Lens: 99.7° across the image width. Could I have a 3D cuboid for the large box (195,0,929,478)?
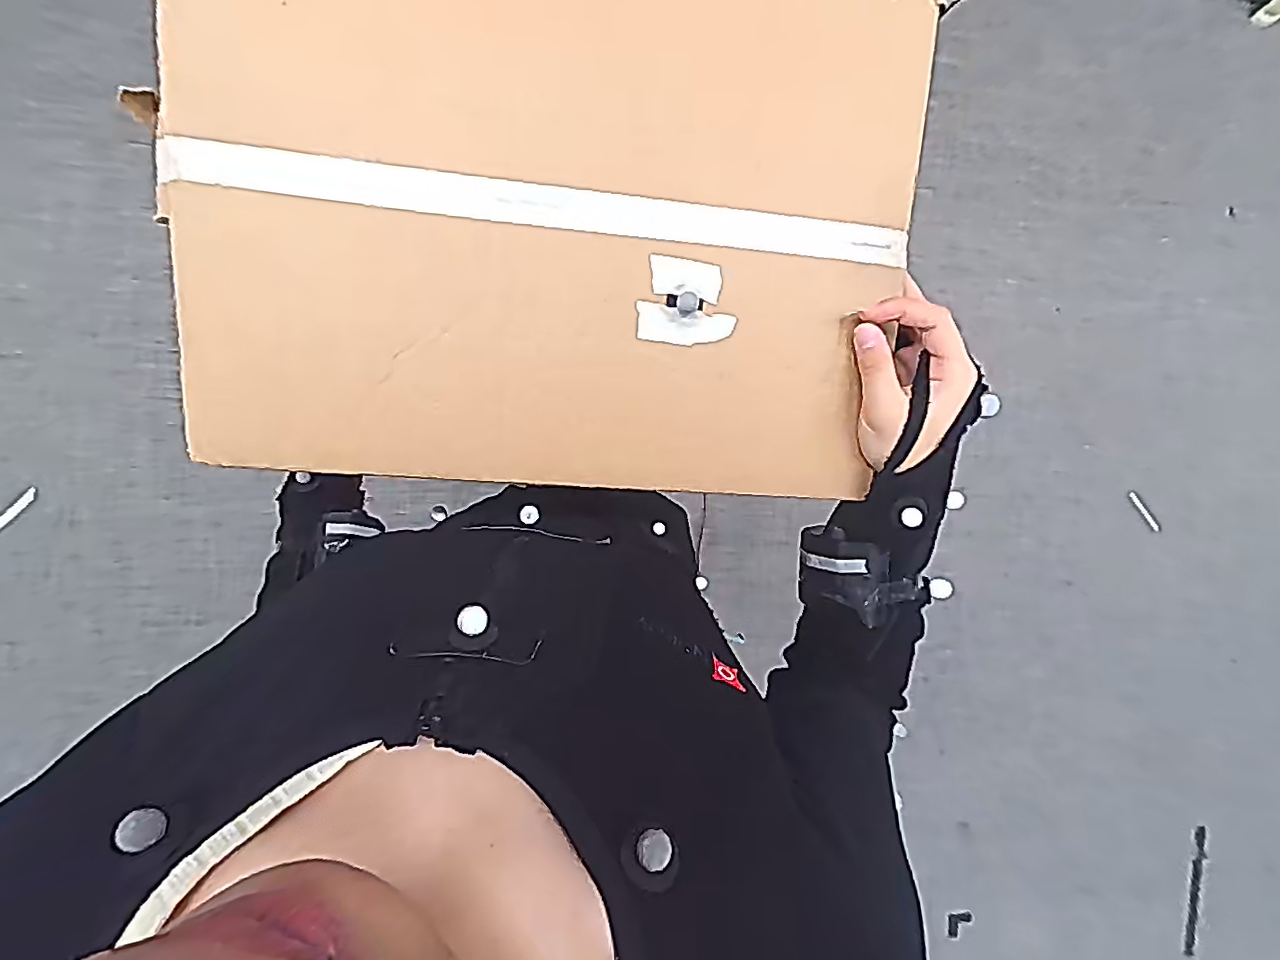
[{"bbox_3d":[-0.056,-0.182,0.456,0.408,0.320,0.320,3,100,-10],"label":"large box"}]
